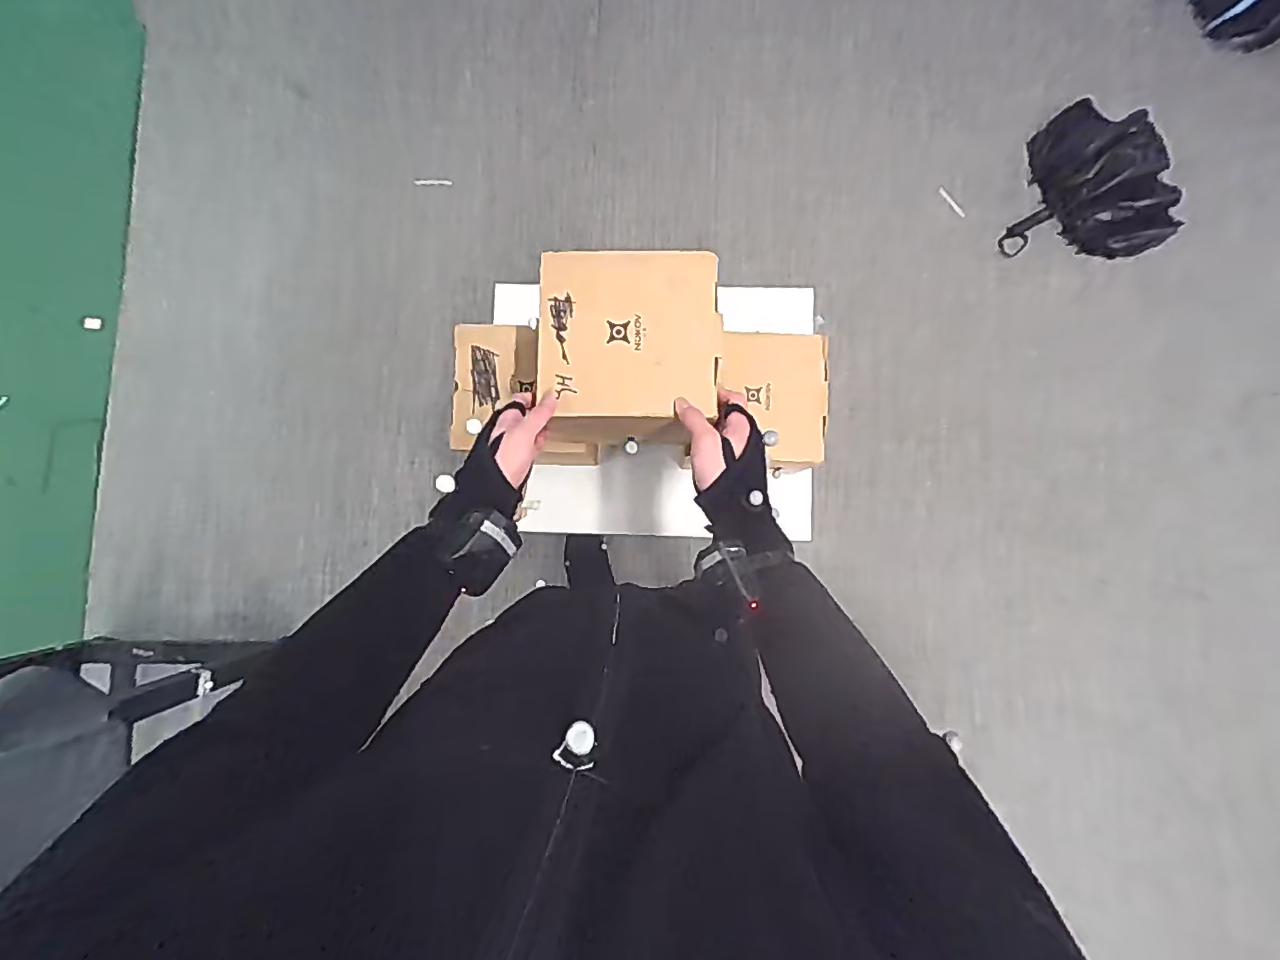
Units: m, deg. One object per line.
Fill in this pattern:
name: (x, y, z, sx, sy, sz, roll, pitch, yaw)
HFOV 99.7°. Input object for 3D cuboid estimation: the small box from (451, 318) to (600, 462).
small box: (-0.145, -0.115, 0.755, 0.179, 0.176, 0.168, 2, 87, -1)

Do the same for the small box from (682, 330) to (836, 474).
small box: (0.154, -0.099, 0.751, 0.179, 0.176, 0.168, 4, 86, 2)

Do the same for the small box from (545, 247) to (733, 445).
small box: (-0.002, -0.132, 0.591, 0.179, 0.176, 0.168, 1, 85, -1)
